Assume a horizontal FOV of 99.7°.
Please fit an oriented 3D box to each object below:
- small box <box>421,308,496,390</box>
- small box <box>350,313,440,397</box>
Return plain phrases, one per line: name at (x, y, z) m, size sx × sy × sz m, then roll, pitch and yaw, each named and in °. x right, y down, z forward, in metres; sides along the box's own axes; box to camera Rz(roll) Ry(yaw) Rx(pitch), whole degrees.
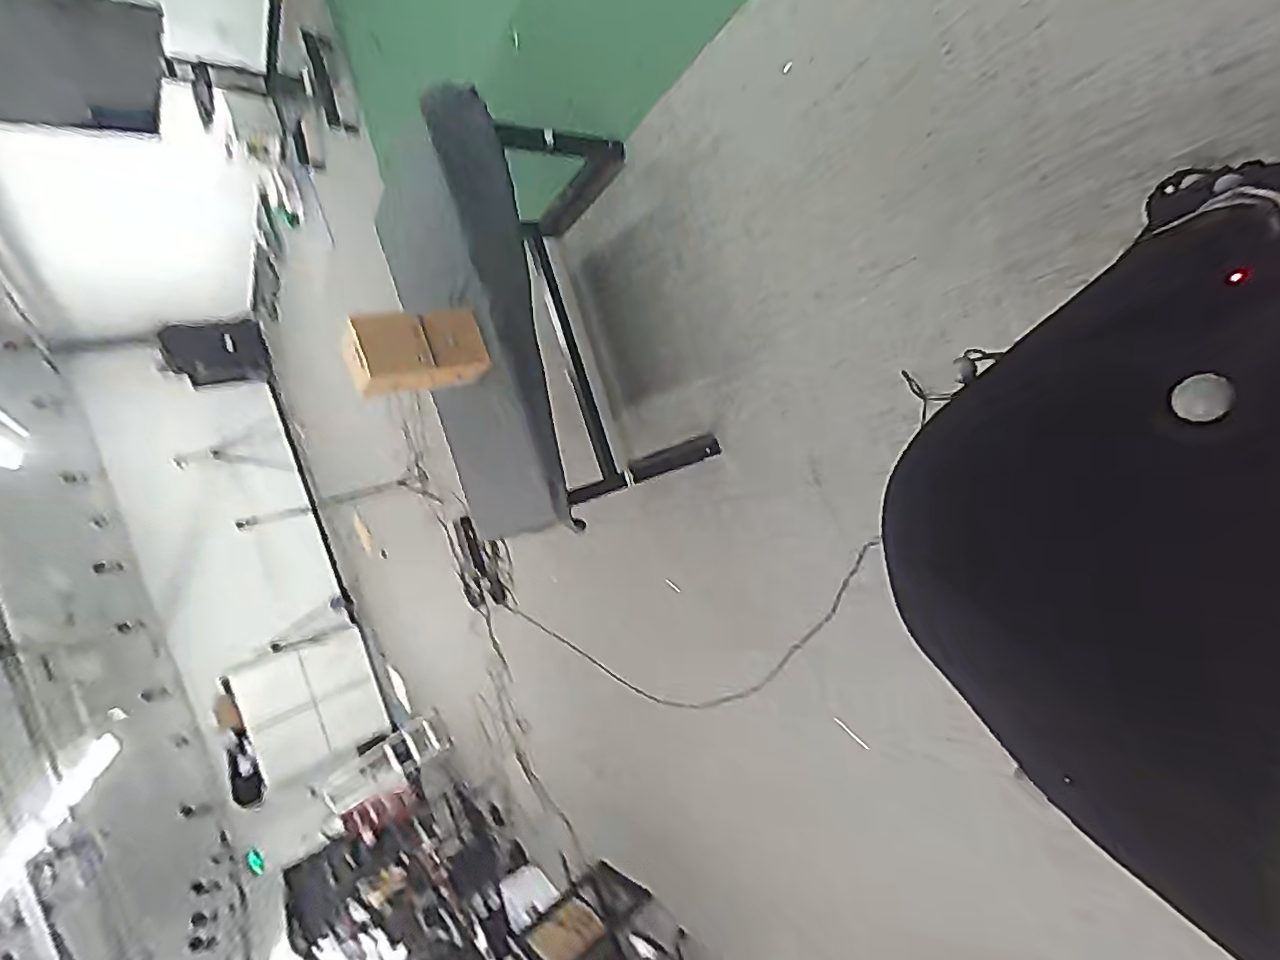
small box at (-0.540, -0.383, 1.573) m, size 0.168 × 0.176 × 0.179 m, roll -26°, pitch 83°, yaw 54°
small box at (-0.659, -0.340, 1.463) m, size 0.179 × 0.176 × 0.168 m, roll -19°, pitch 89°, yaw 54°
